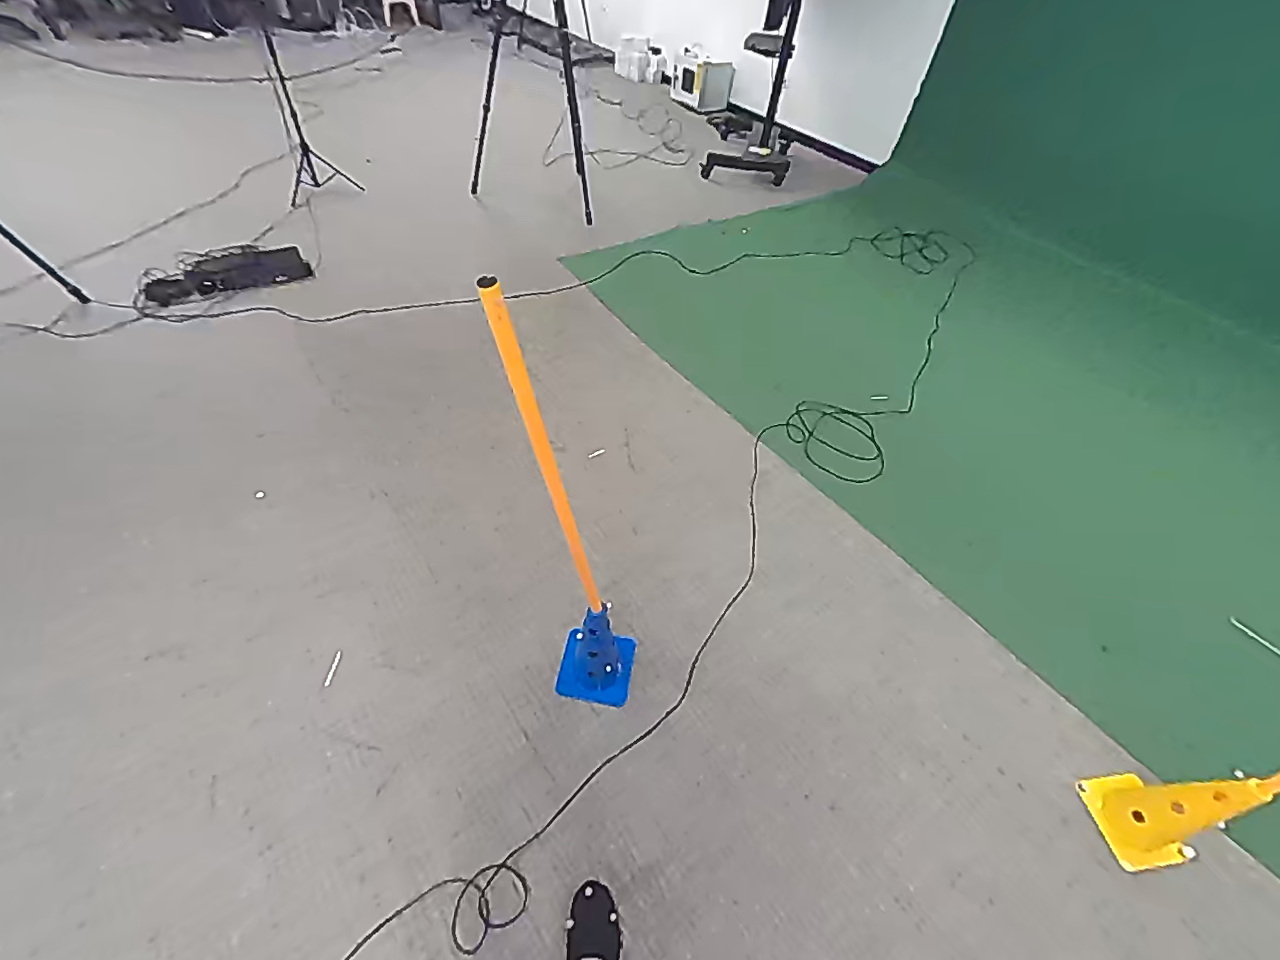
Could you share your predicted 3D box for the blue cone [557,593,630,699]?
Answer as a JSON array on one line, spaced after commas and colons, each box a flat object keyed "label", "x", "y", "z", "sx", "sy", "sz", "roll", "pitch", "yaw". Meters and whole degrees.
[{"label": "blue cone", "x": -0.119, "y": 0.405, "z": 1.386, "sx": 0.193, "sy": 0.380, "sz": 0.192, "roll": 8, "pitch": 50, "yaw": 3}]
